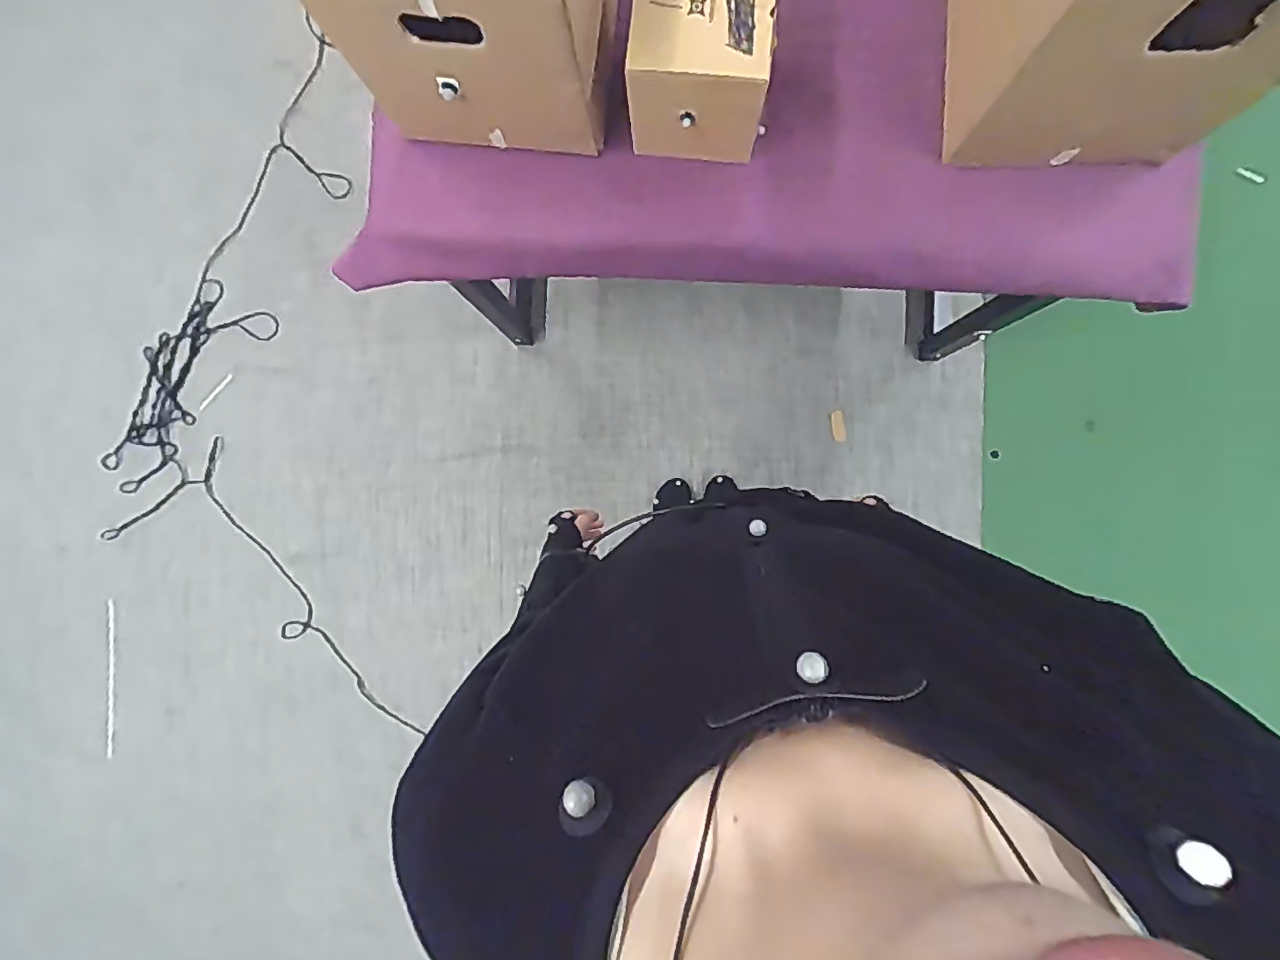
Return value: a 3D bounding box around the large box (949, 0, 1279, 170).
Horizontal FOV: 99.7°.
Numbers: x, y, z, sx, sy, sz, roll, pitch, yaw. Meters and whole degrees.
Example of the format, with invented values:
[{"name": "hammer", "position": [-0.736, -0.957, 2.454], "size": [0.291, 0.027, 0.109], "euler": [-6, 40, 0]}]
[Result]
[{"name": "large box", "position": [0.590, -0.648, 0.630], "size": [0.320, 0.320, 0.408], "euler": [2, 89, 6]}]
